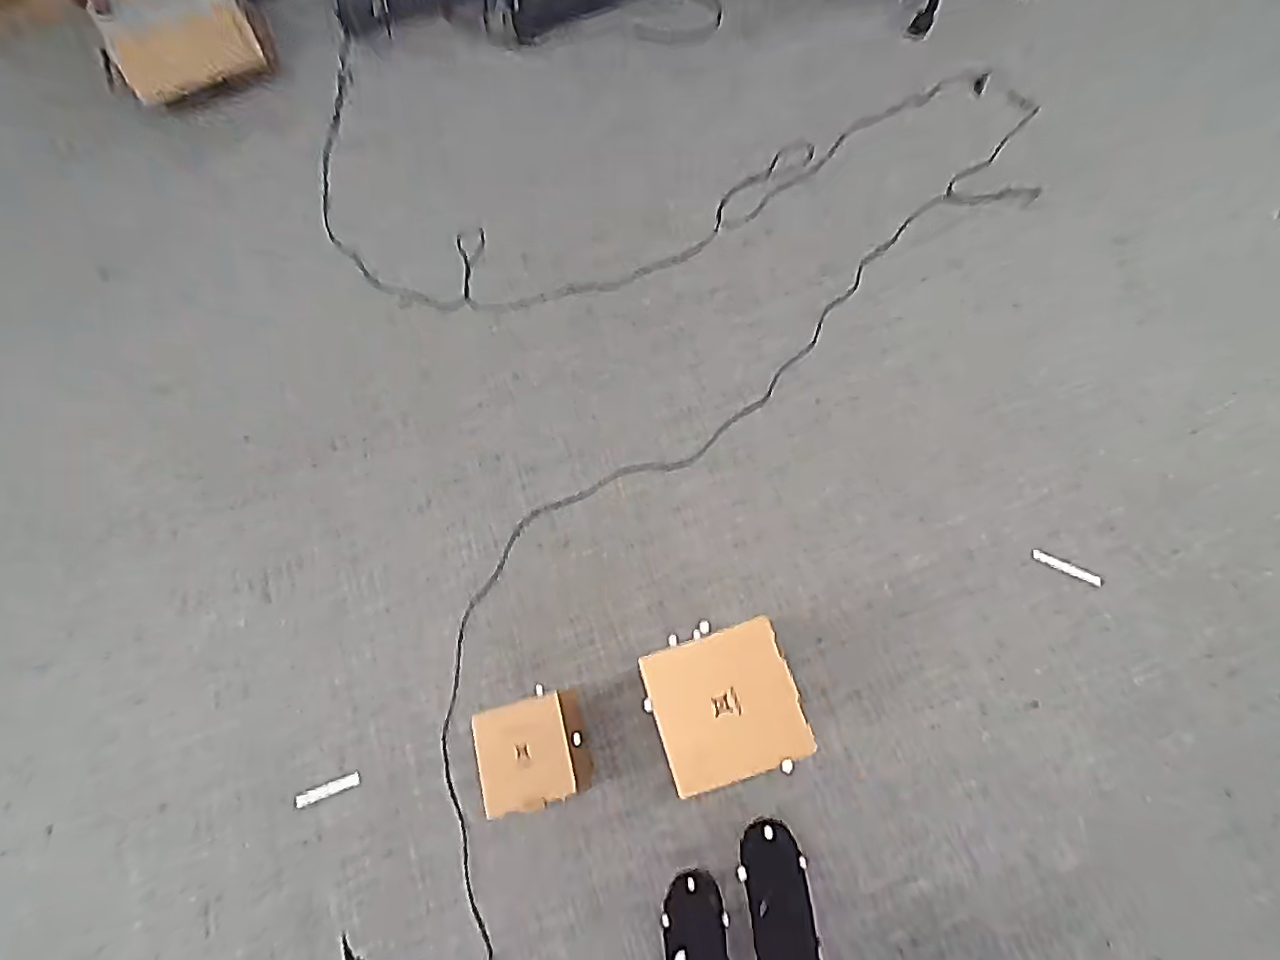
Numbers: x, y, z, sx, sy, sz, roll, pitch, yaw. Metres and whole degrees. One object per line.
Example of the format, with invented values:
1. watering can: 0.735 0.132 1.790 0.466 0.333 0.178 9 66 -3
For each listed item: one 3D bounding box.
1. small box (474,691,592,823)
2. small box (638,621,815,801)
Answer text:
1. small box: -0.198 0.521 1.040 0.168 0.176 0.179 -16 72 -1
2. small box: 0.110 0.304 0.736 0.179 0.176 0.168 -19 72 -2
